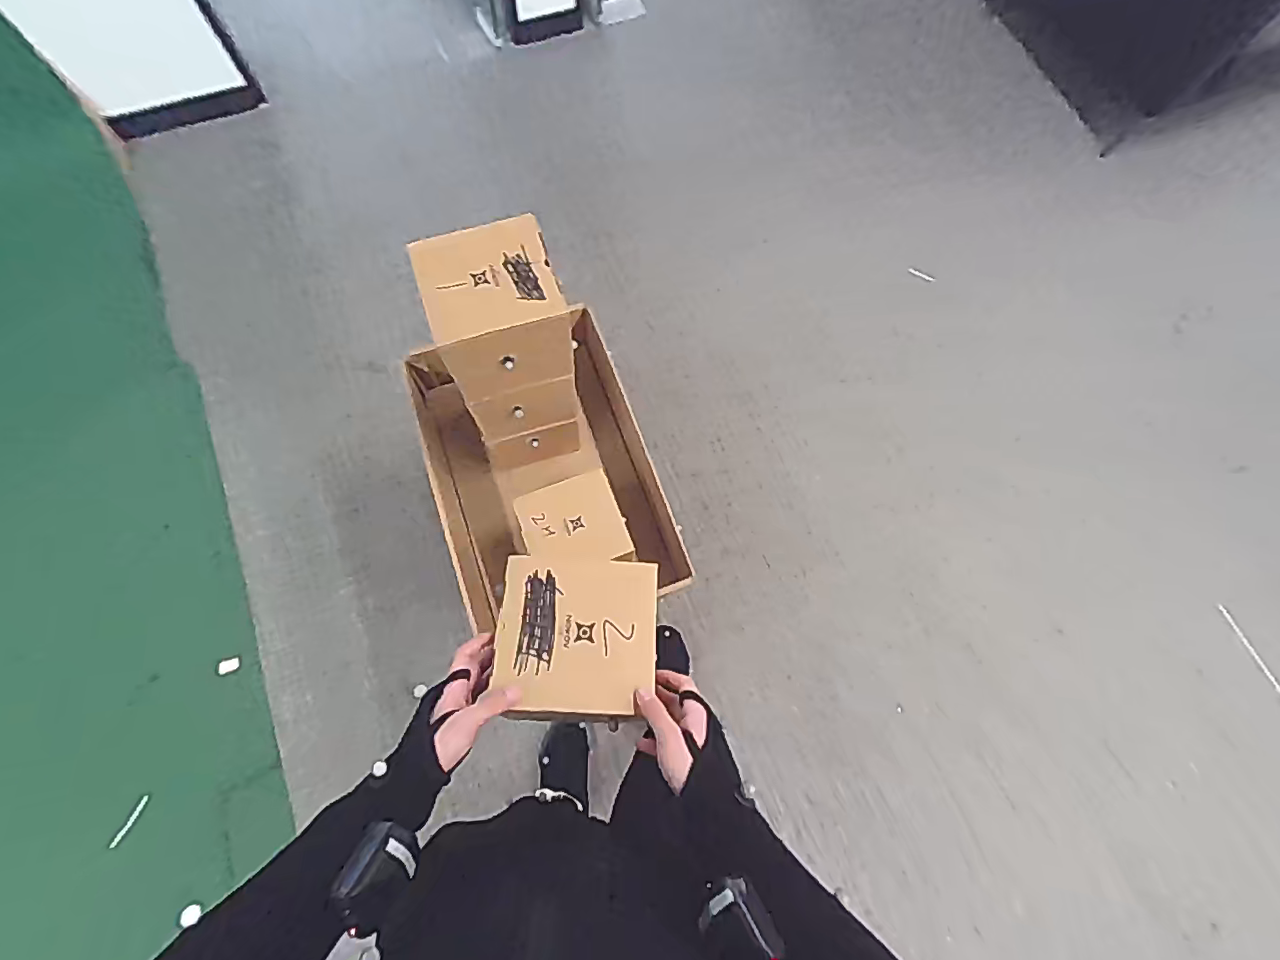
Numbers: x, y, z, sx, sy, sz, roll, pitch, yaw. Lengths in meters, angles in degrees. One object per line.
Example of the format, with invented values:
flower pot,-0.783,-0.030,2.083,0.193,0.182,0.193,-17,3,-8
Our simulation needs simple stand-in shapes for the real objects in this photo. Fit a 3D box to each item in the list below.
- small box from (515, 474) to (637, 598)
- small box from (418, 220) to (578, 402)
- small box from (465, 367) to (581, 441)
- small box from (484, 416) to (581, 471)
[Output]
small box,-0.119,0.110,1.018,0.179,0.176,0.168,-19,74,-10
small box,-0.194,-0.235,0.782,0.179,0.176,0.168,-17,75,-9
small box,-0.208,-0.185,0.939,0.179,0.176,0.168,-17,76,-9
small box,-0.222,-0.132,1.093,0.179,0.176,0.168,-15,75,-10
